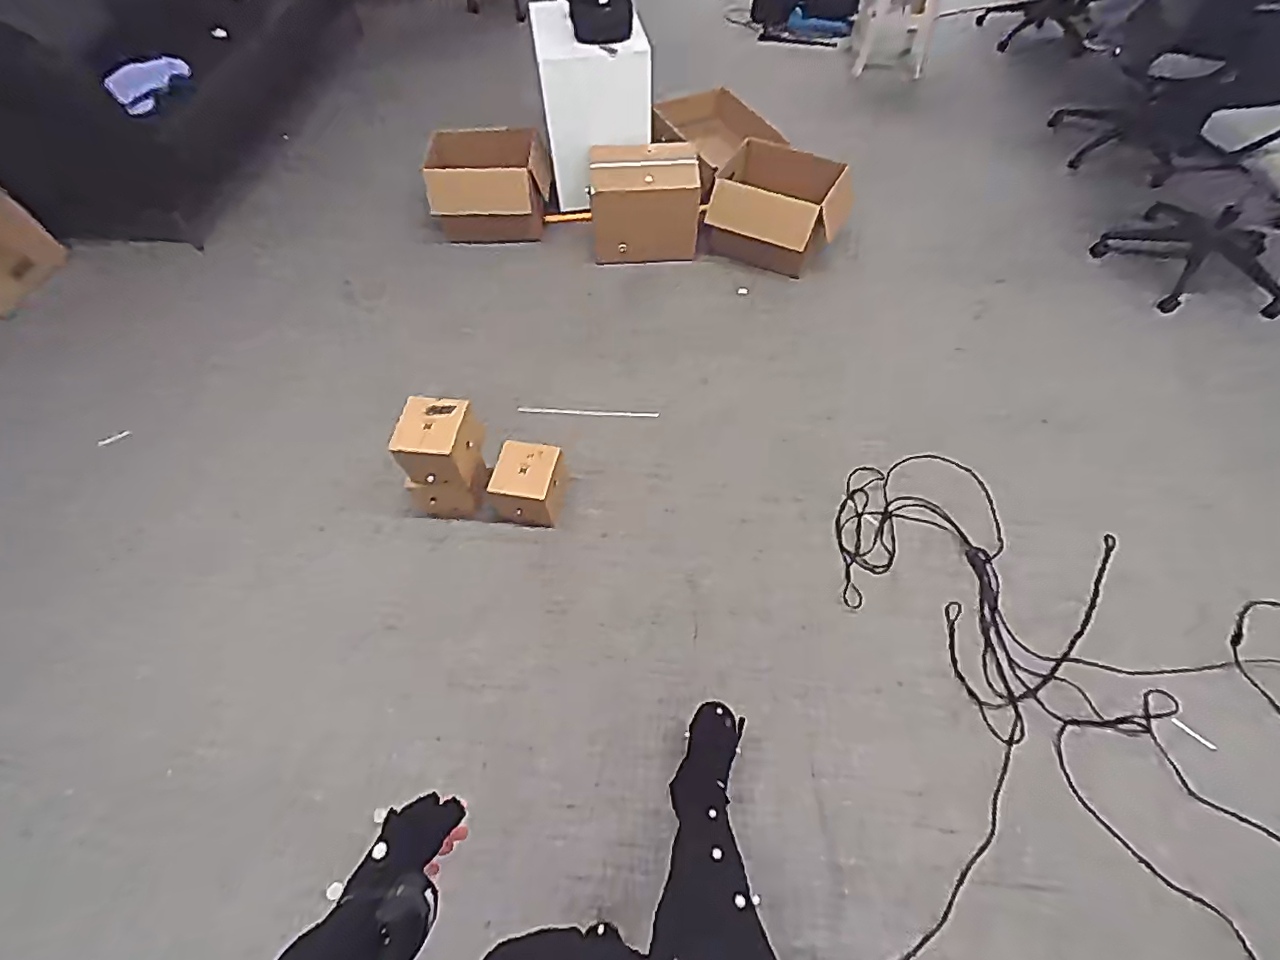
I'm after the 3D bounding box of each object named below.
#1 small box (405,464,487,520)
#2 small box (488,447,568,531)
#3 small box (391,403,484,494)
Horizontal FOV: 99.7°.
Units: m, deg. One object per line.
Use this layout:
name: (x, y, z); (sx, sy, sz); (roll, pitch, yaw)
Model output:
small box: (-0.561, 0.008, 1.591); (0.168, 0.176, 0.179); (-1, 58, 1)
small box: (-0.315, 0.030, 1.568); (0.168, 0.176, 0.179); (9, 59, 7)
small box: (-0.532, -0.083, 1.453); (0.168, 0.176, 0.179); (5, 59, 5)
